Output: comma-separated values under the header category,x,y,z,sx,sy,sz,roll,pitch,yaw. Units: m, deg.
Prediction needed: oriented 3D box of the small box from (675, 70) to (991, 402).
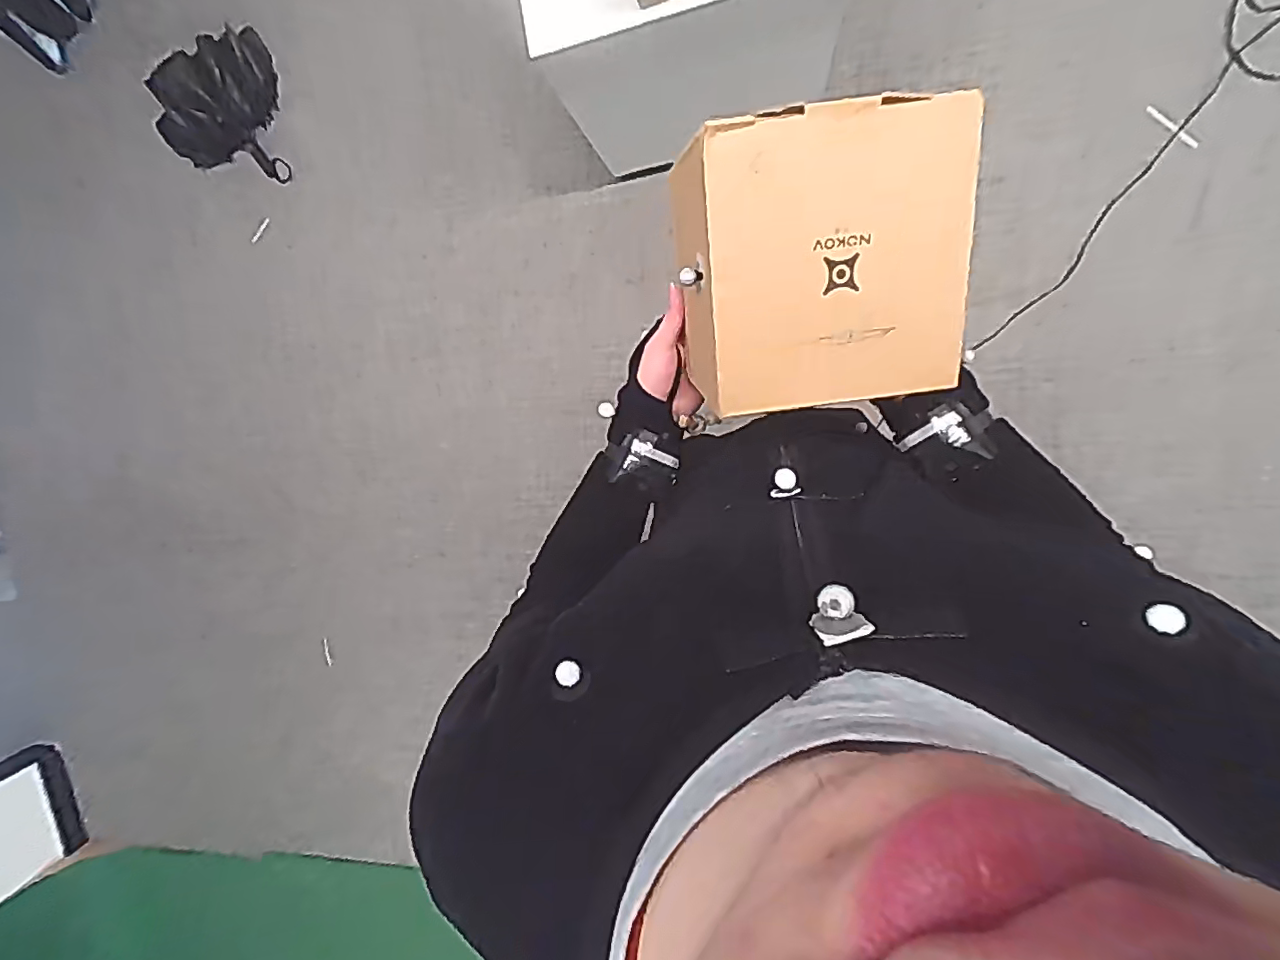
category,x,y,z,sx,sy,sz,roll,pitch,yaw
small box,0.124,-0.170,0.409,0.168,0.176,0.179,-8,112,-1
